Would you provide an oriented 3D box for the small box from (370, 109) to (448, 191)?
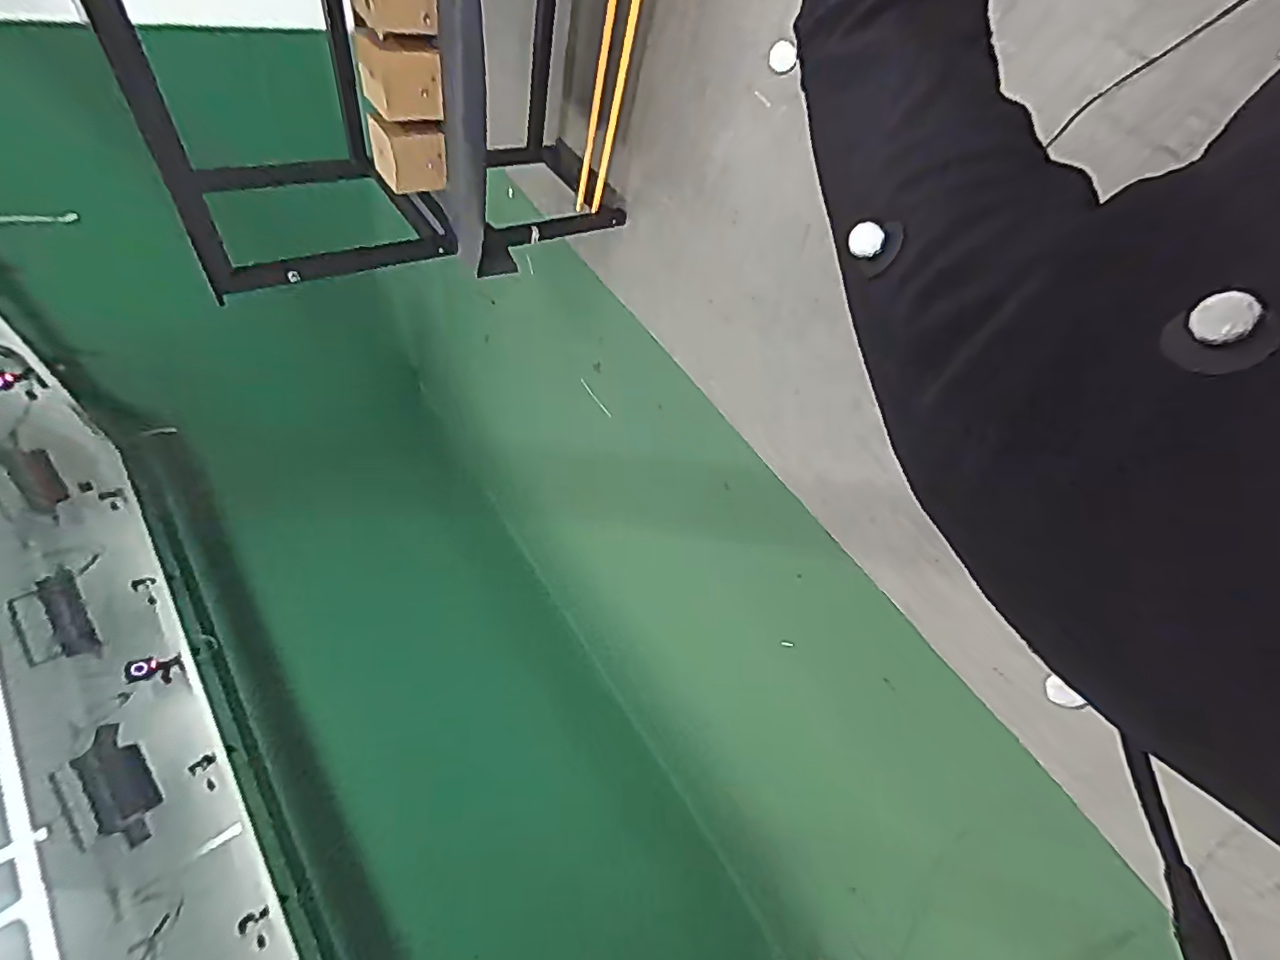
[{"bbox_3d":[-0.721,-1.040,1.701,0.179,0.176,0.168,50,147,22],"label":"small box"}]
